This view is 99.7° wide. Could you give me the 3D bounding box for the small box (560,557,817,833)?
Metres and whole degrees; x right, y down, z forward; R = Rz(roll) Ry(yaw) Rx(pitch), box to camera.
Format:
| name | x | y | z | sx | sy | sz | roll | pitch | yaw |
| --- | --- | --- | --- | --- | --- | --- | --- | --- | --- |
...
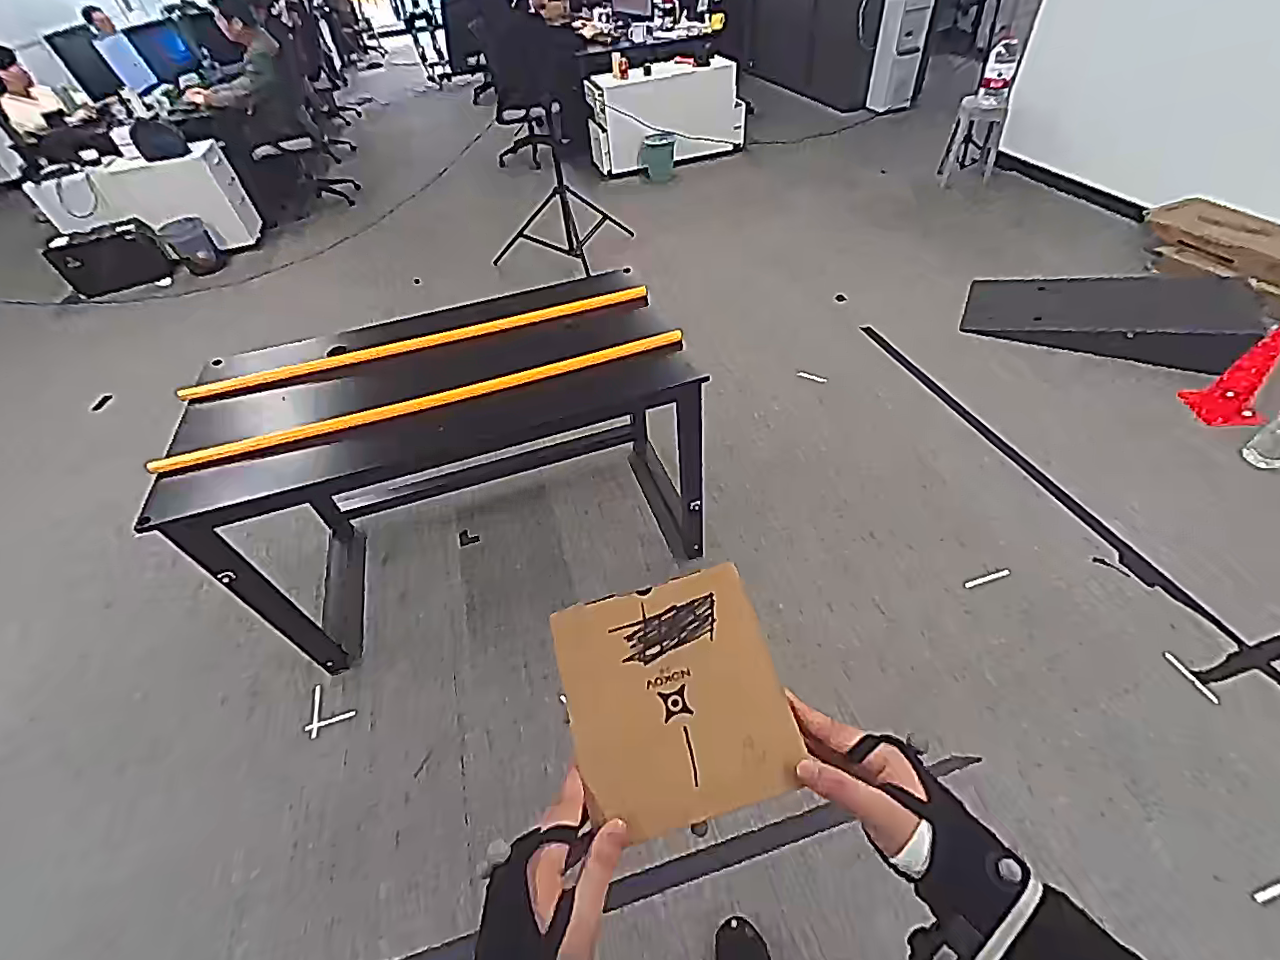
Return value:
| name | x | y | z | sx | sy | sz | roll | pitch | yaw |
| --- | --- | --- | --- | --- | --- | --- | --- | --- | --- |
| small box | 0.033 | 0.198 | 0.497 | 0.168 | 0.176 | 0.179 | -15 | 61 | -5 |
